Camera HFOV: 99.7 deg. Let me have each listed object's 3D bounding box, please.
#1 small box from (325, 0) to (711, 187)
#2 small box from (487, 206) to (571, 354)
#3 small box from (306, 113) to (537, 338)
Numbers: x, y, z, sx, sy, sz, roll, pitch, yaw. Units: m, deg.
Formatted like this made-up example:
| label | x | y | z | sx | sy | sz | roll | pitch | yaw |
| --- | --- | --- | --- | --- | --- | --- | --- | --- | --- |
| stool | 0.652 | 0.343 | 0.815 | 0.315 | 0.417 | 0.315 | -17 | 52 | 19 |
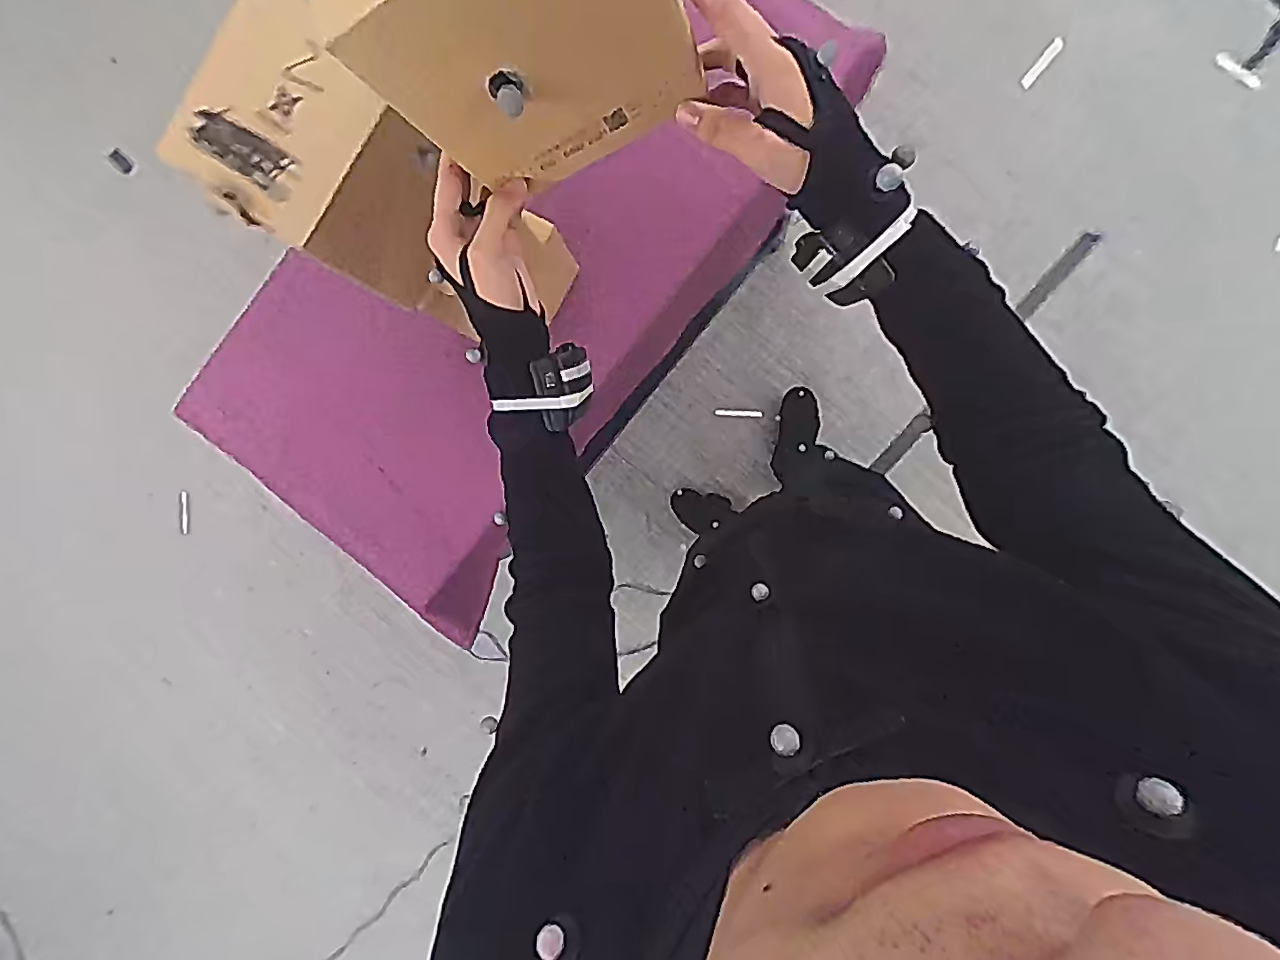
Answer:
| label | x | y | z | sx | sy | sz | roll | pitch | yaw |
| --- | --- | --- | --- | --- | --- | --- | --- | --- | --- |
| small box | -0.069 | -0.314 | 0.326 | 0.168 | 0.176 | 0.179 | -17 | 82 | 19 |
| small box | -0.227 | -0.320 | 0.852 | 0.168 | 0.176 | 0.179 | 29 | 93 | 5 |
| small box | -0.263 | -0.305 | 0.690 | 0.179 | 0.176 | 0.168 | 34 | 95 | 5 |
